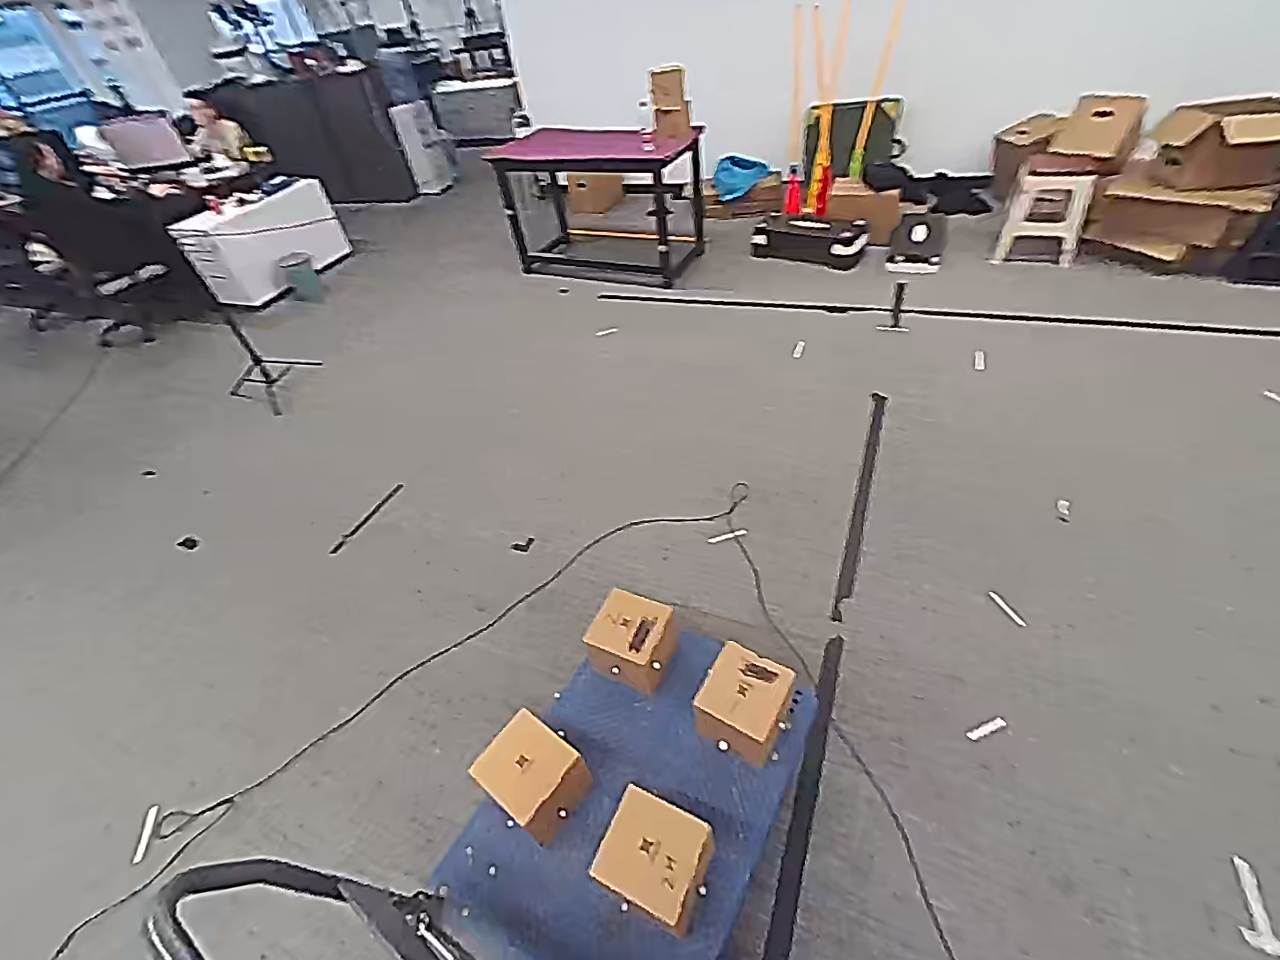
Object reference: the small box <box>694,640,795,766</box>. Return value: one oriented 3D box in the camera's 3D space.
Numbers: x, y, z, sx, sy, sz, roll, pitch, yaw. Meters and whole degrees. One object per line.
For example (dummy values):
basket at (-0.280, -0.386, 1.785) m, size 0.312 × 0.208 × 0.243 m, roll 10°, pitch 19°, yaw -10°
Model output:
small box at (0.237, 0.508, 1.231) m, size 0.168 × 0.176 × 0.179 m, roll 20°, pitch 52°, yaw 28°

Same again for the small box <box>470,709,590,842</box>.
small box at (-0.232, 0.646, 1.178) m, size 0.179 × 0.176 × 0.168 m, roll 25°, pitch 53°, yaw 29°

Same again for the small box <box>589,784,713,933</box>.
small box at (0.030, 0.730, 1.041) m, size 0.179 × 0.176 × 0.168 m, roll 15°, pitch 49°, yaw 24°
